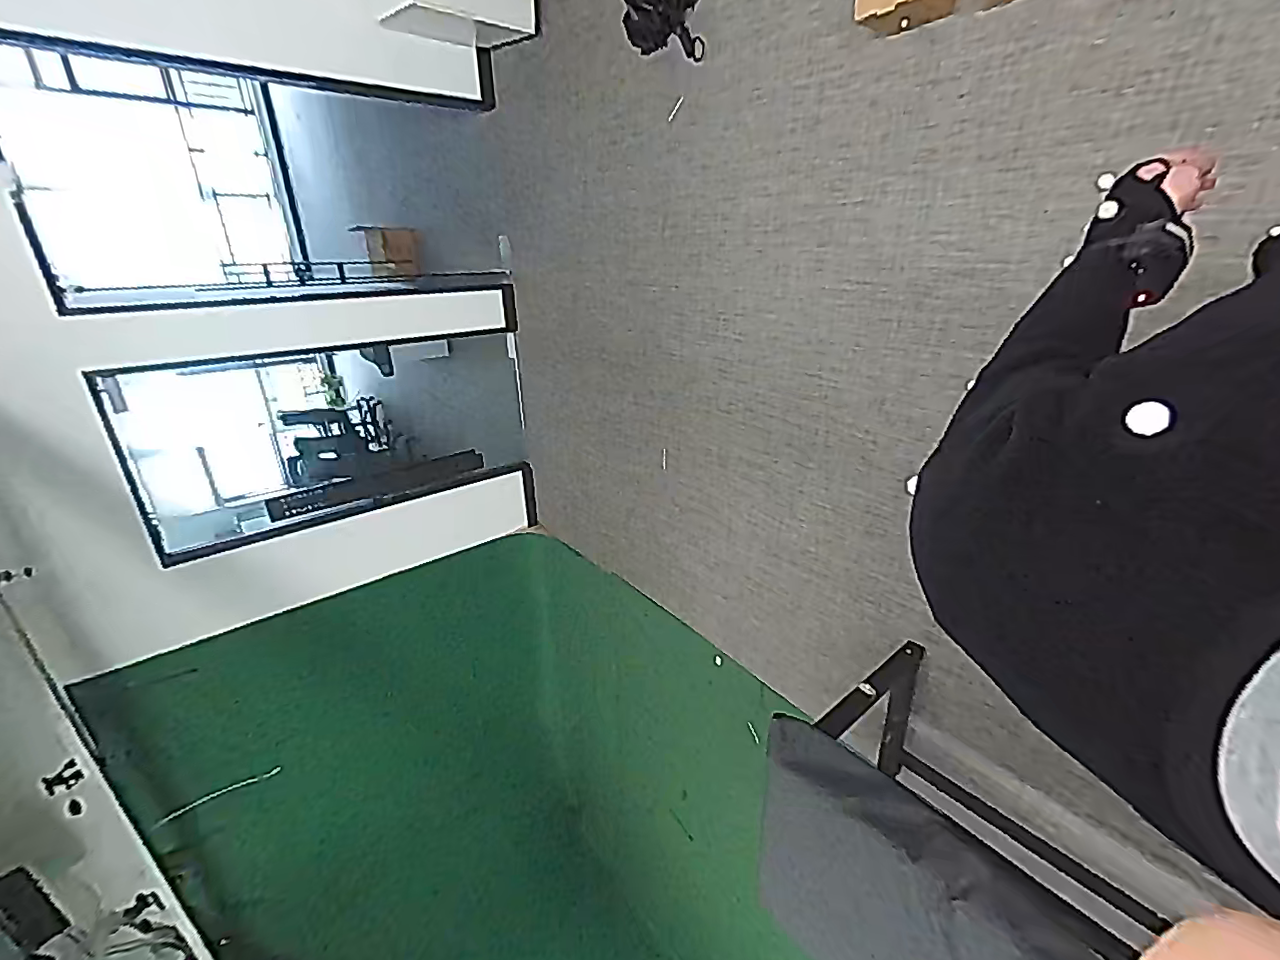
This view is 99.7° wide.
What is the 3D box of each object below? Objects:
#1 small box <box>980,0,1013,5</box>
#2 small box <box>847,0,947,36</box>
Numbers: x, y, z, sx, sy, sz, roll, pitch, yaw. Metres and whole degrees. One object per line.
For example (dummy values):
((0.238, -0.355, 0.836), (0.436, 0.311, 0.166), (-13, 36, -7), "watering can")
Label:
((0.775, -1.103, 1.085), (0.168, 0.176, 0.179), (12, 112, 50), "small box")
((0.613, -1.179, 1.269), (0.168, 0.176, 0.179), (24, 123, 47), "small box")
